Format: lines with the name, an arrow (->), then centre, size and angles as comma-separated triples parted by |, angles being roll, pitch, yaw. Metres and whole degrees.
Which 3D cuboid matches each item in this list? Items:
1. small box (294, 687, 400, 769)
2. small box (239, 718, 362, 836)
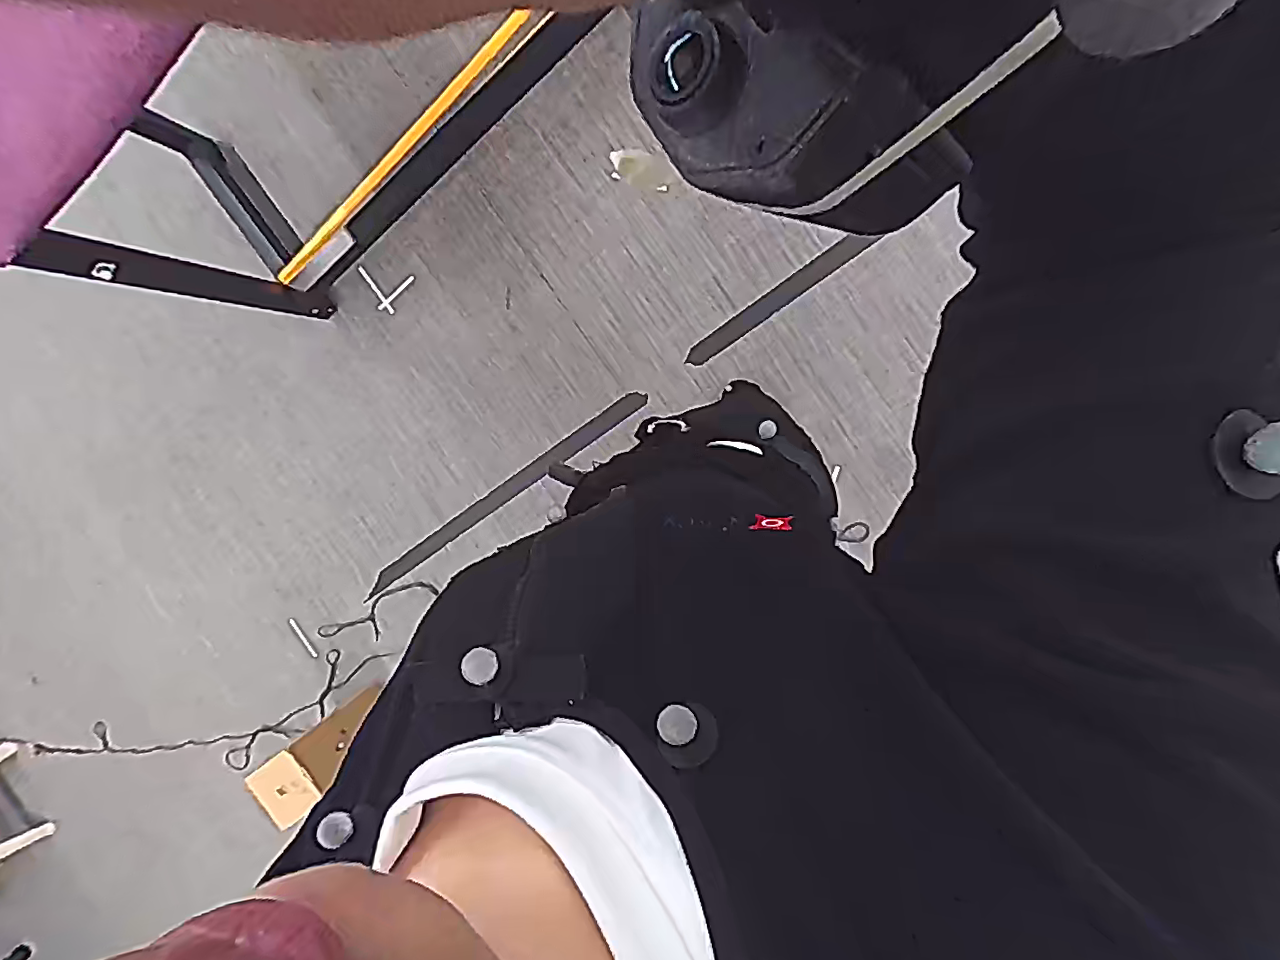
small box -> -0.838, 0.738, 1.559 | 0.179, 0.176, 0.168 | -35, 91, 12
small box -> -0.869, 0.760, 1.398 | 0.179, 0.176, 0.168 | -37, 91, 13
